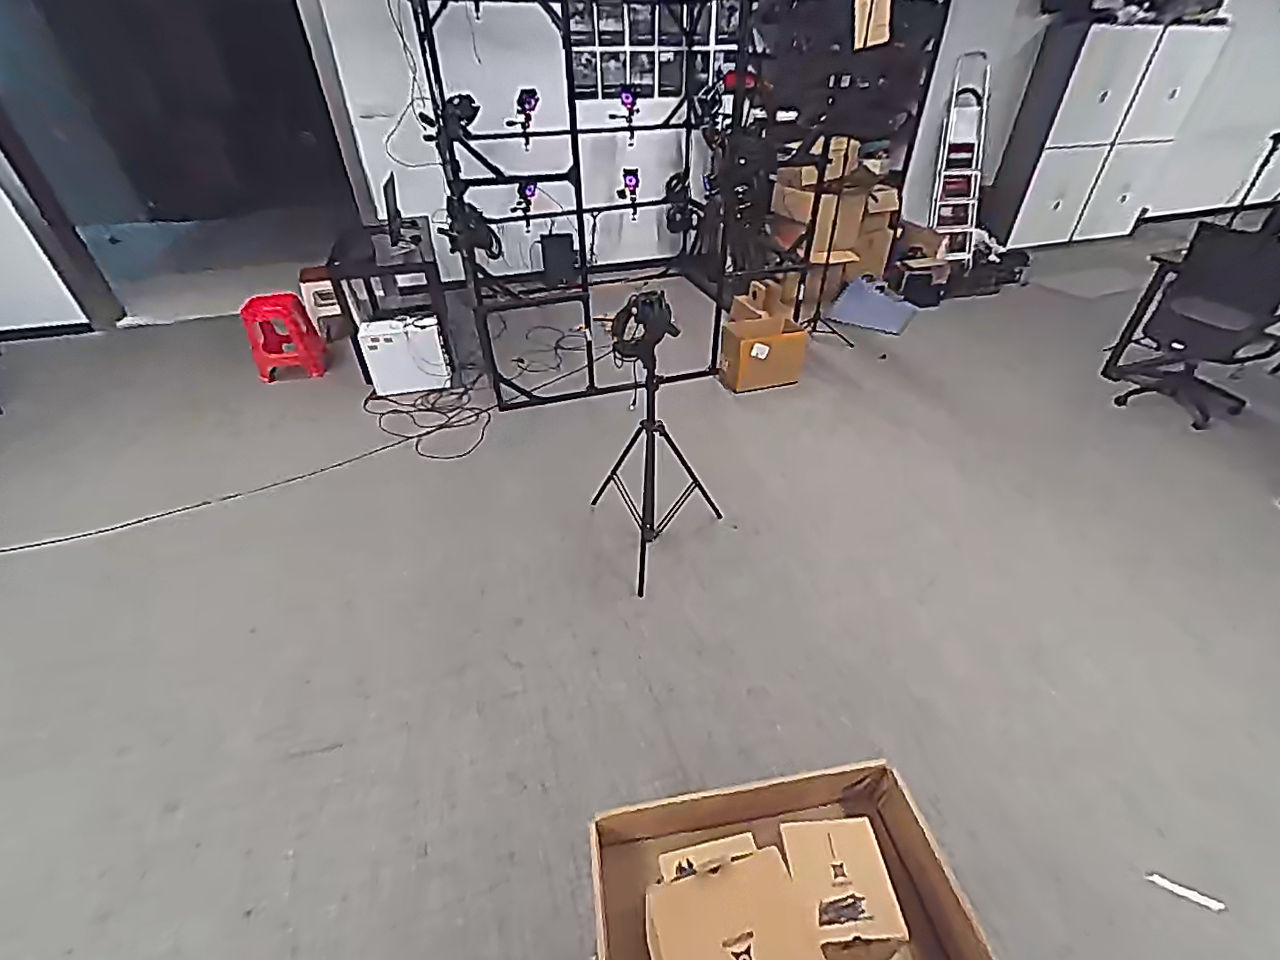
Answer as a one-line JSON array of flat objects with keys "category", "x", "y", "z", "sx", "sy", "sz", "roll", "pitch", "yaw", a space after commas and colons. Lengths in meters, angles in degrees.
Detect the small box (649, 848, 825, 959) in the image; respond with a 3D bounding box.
[{"category": "small box", "x": 0.109, "y": 0.567, "z": 0.610, "sx": 0.168, "sy": 0.176, "sz": 0.179, "roll": -10, "pitch": 36, "yaw": -12}]
